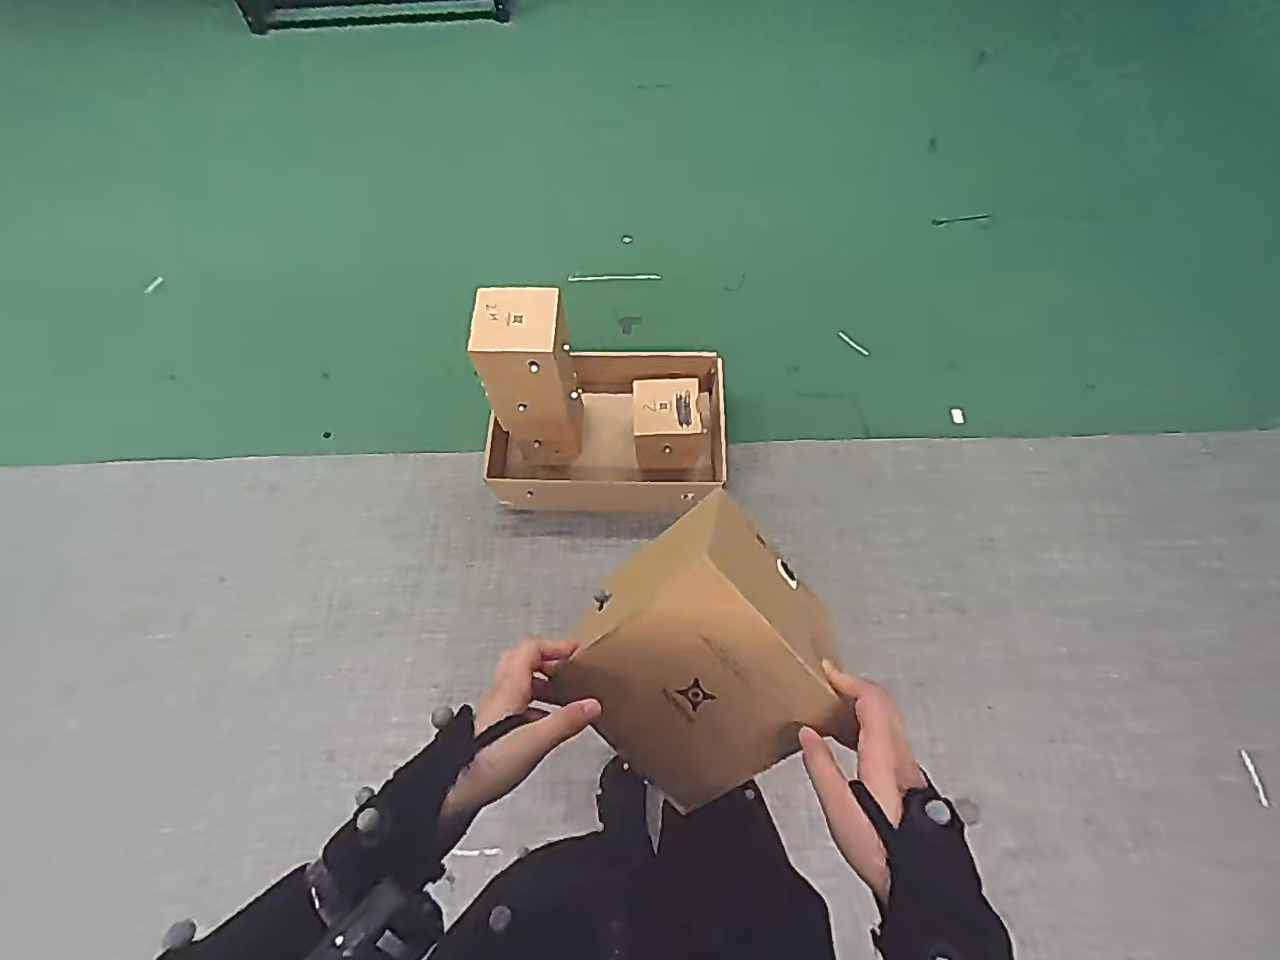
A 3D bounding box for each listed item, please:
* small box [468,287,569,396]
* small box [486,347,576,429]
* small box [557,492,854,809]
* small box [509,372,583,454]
[{"bbox_3d":[-0.252,-0.295,1.172,0.179,0.176,0.168,0,67,1],"label":"small box"},{"bbox_3d":[-0.259,-0.233,1.326,0.179,0.176,0.168,1,68,1],"label":"small box"},{"bbox_3d":[0.060,0.141,0.492,0.168,0.176,0.179,45,109,-5],"label":"small box"},{"bbox_3d":[-0.250,-0.179,1.481,0.168,0.176,0.179,0,68,1],"label":"small box"}]
